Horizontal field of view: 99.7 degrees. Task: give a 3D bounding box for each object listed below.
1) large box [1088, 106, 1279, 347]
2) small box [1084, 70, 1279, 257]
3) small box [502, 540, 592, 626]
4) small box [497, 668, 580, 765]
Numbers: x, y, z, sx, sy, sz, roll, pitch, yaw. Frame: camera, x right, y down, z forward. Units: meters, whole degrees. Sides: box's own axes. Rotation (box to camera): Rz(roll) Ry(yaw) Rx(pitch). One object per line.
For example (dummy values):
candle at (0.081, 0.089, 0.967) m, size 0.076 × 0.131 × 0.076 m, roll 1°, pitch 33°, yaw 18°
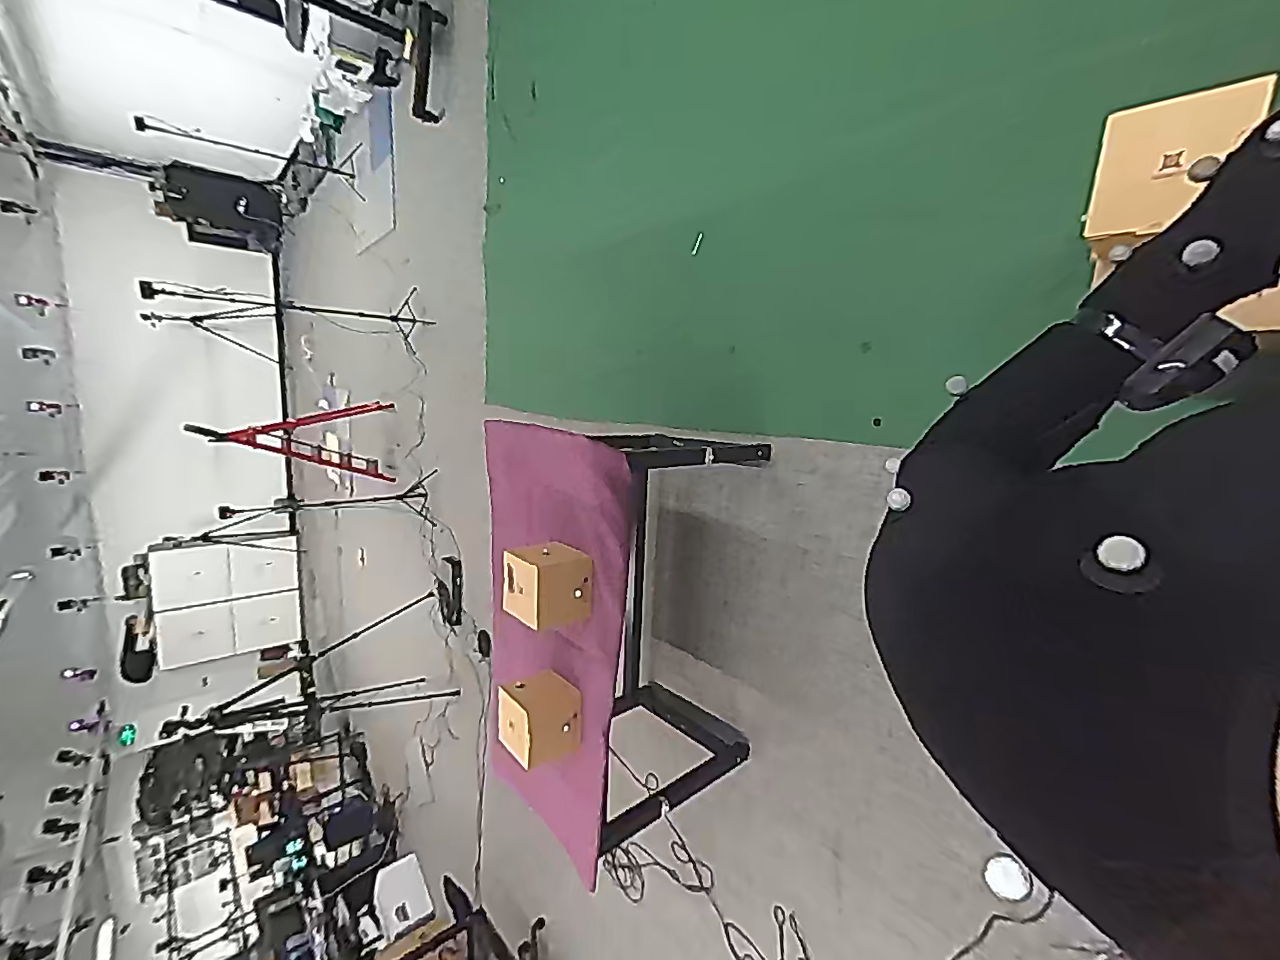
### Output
large box at (1.037, -0.394, 0.884) m, size 0.408 × 0.320 × 0.320 m, roll 14°, pitch 105°, yaw 47°
small box at (0.788, -0.444, 0.794) m, size 0.168 × 0.176 × 0.179 m, roll 15°, pitch 105°, yaw 47°
small box at (-0.246, 0.260, 1.422) m, size 0.179 × 0.176 × 0.168 m, roll 13°, pitch 104°, yaw 47°
small box at (-0.284, 0.645, 1.505) m, size 0.179 × 0.176 × 0.168 m, roll 11°, pitch 103°, yaw 49°
